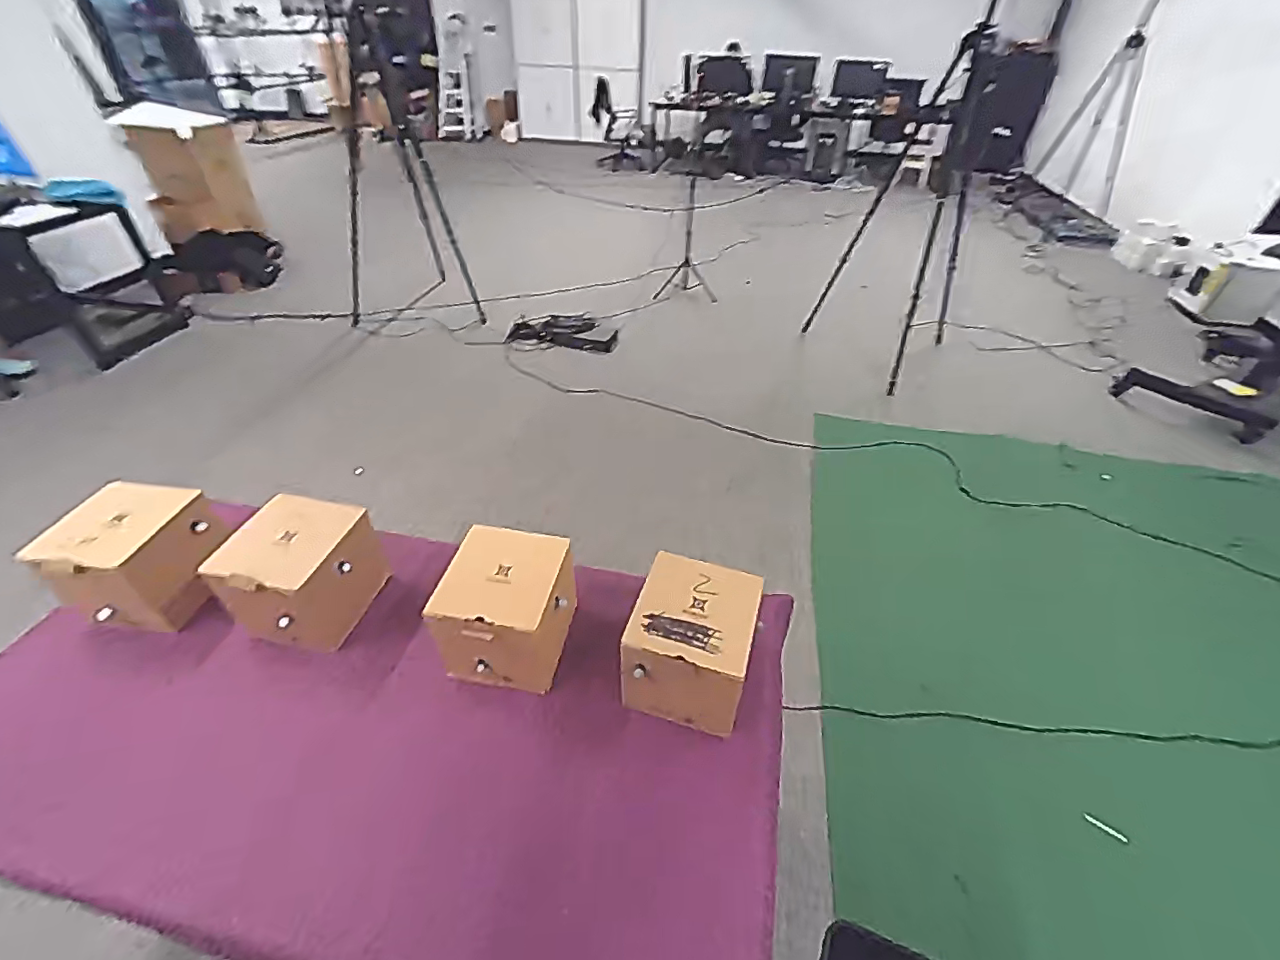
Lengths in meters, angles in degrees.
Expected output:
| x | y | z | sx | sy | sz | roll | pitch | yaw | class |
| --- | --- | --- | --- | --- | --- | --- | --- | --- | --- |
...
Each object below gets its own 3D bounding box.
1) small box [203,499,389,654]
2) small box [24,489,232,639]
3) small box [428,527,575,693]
| x | y | z | sx | sy | sz | roll | pitch | yaw | class |
| --- | --- | --- | --- | --- | --- | --- | --- | --- | --- |
| -0.547 | 0.161 | 0.893 | 0.168 | 0.176 | 0.179 | 9 | 41 | 8 | small box |
| -0.828 | 0.139 | 0.910 | 0.168 | 0.176 | 0.179 | 5 | 41 | 4 | small box |
| -0.203 | 0.203 | 0.850 | 0.168 | 0.176 | 0.179 | 7 | 41 | 7 | small box |
